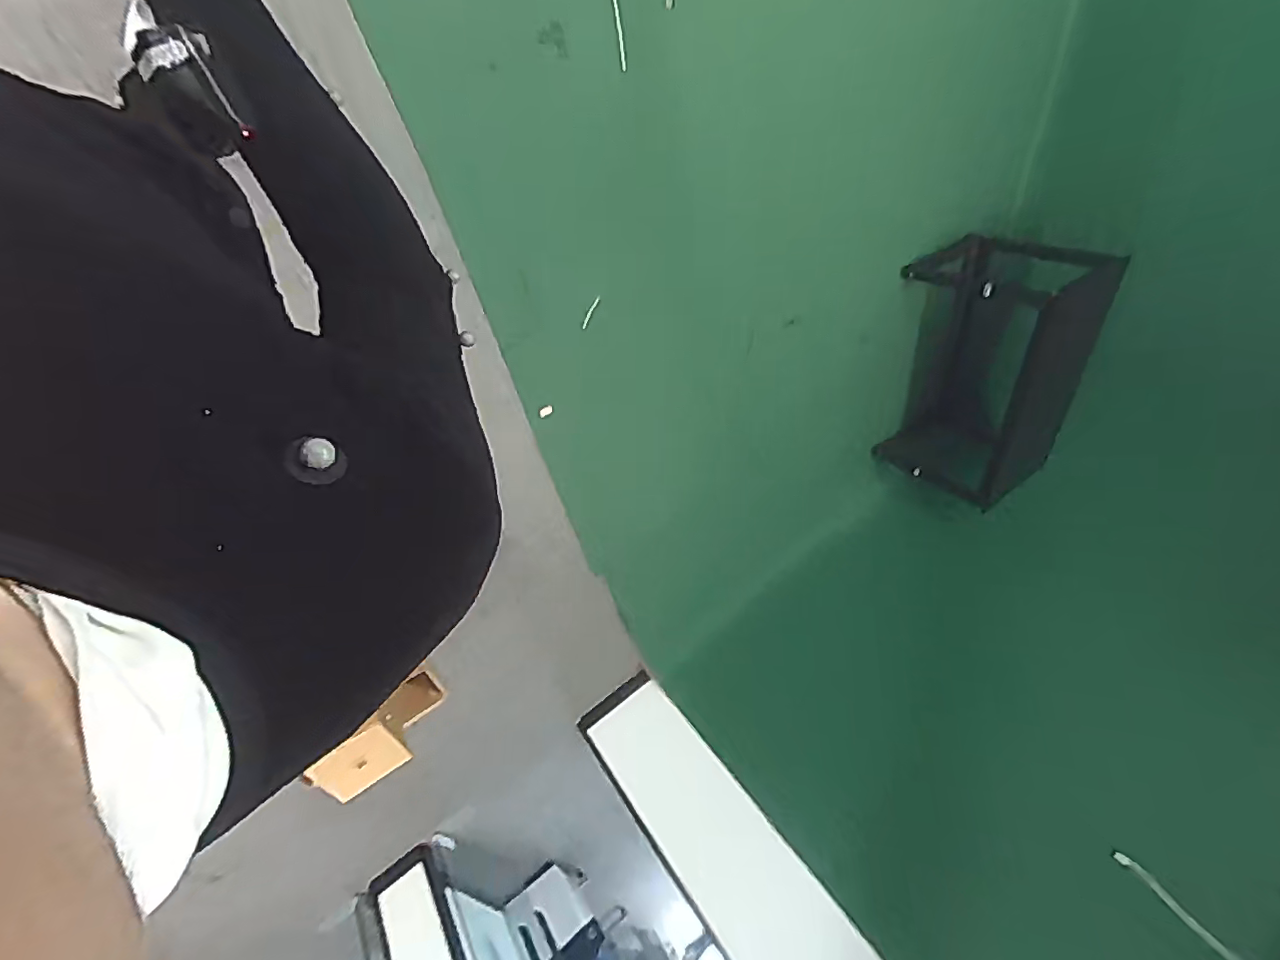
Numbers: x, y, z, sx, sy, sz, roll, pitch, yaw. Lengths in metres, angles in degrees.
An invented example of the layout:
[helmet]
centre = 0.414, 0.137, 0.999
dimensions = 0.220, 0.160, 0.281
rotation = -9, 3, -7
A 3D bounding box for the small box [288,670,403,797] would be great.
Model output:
[small box]
centre = -0.679, 0.578, 1.248
dimensions = 0.168, 0.176, 0.179
rotation = -30, 132, -20
